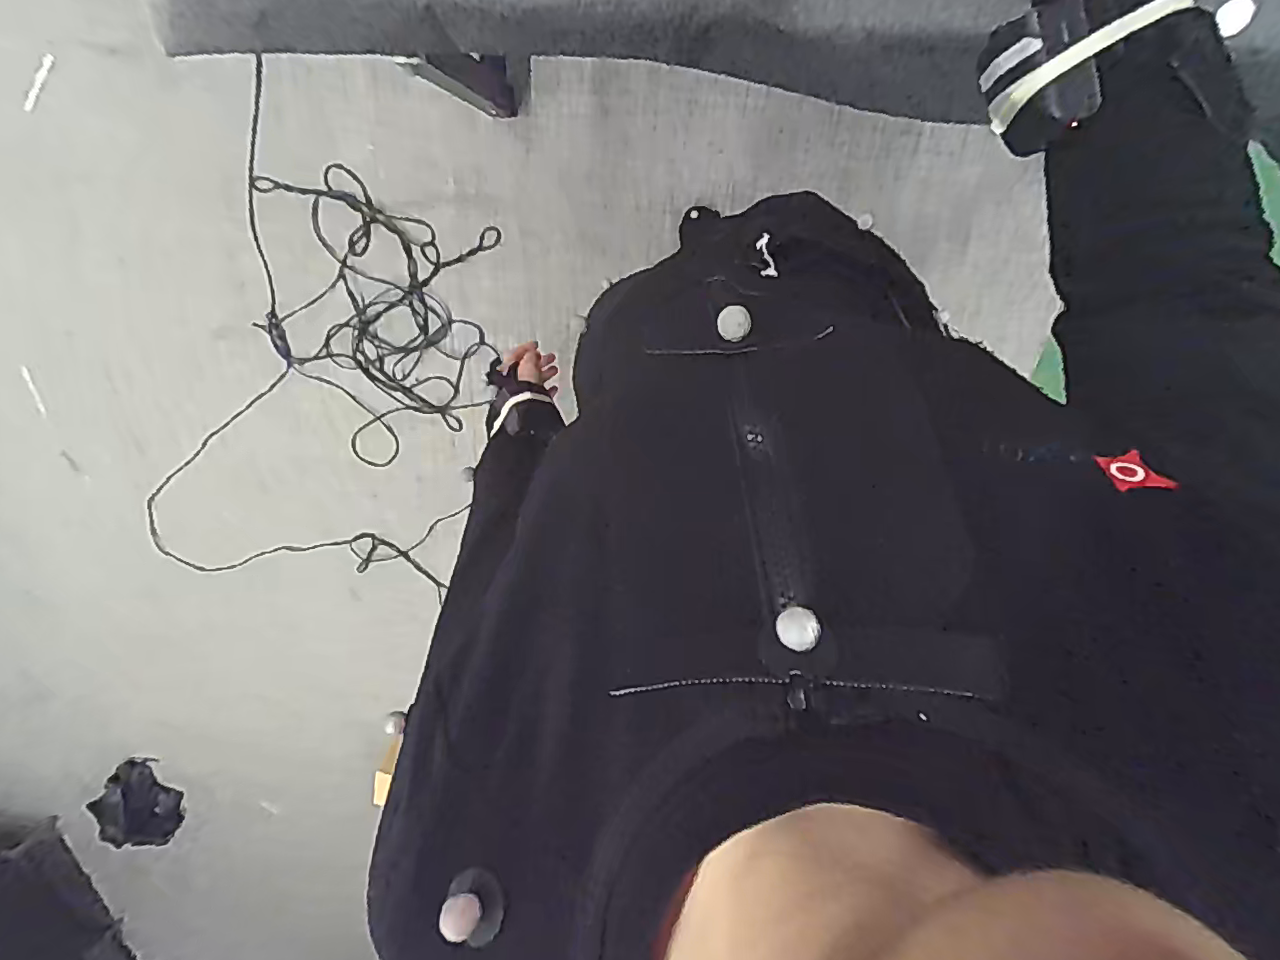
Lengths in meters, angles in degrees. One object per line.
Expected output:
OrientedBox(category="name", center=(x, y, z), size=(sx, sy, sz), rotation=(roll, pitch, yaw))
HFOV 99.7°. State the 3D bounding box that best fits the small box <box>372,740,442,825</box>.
OrientedBox(category="small box", center=(-0.803, 1.043, 1.870), size=(0.168, 0.176, 0.179), rotation=(15, 115, -2))
